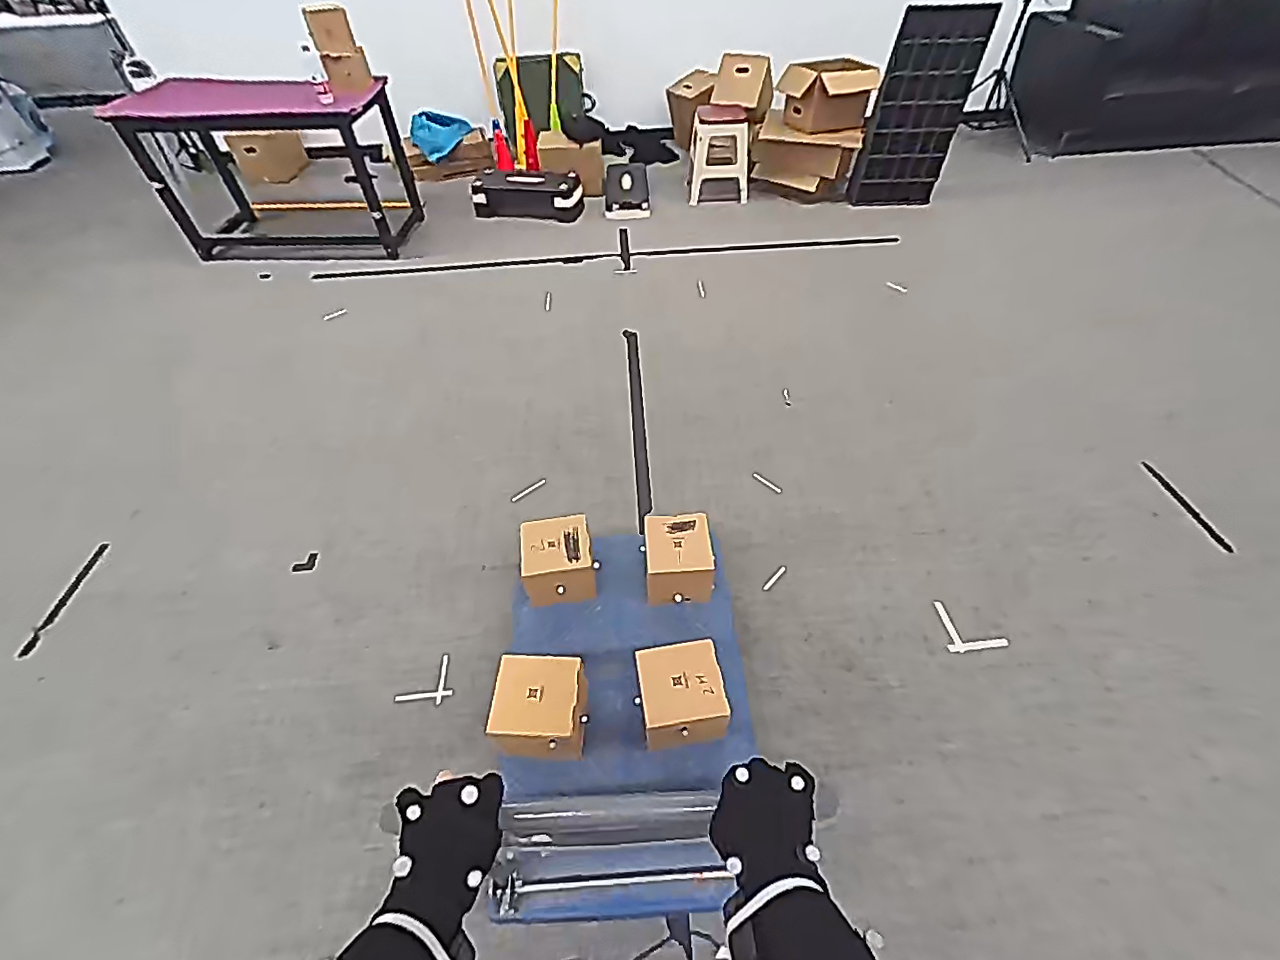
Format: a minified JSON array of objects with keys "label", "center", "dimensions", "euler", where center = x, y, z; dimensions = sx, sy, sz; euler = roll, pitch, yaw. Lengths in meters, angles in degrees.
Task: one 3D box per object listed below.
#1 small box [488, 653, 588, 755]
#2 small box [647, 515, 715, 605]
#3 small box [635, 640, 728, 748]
[{"label":"small box","center":[-0.217,0.501,1.203],"dimensions":[0.179,0.176,0.168],"euler":[2,49,2]},{"label":"small box","center":[0.102,0.214,1.440],"dimensions":[0.168,0.176,0.179],"euler":[-3,50,0]},{"label":"small box","center":[0.089,0.480,1.206],"dimensions":[0.179,0.176,0.168],"euler":[-7,49,-4]}]
